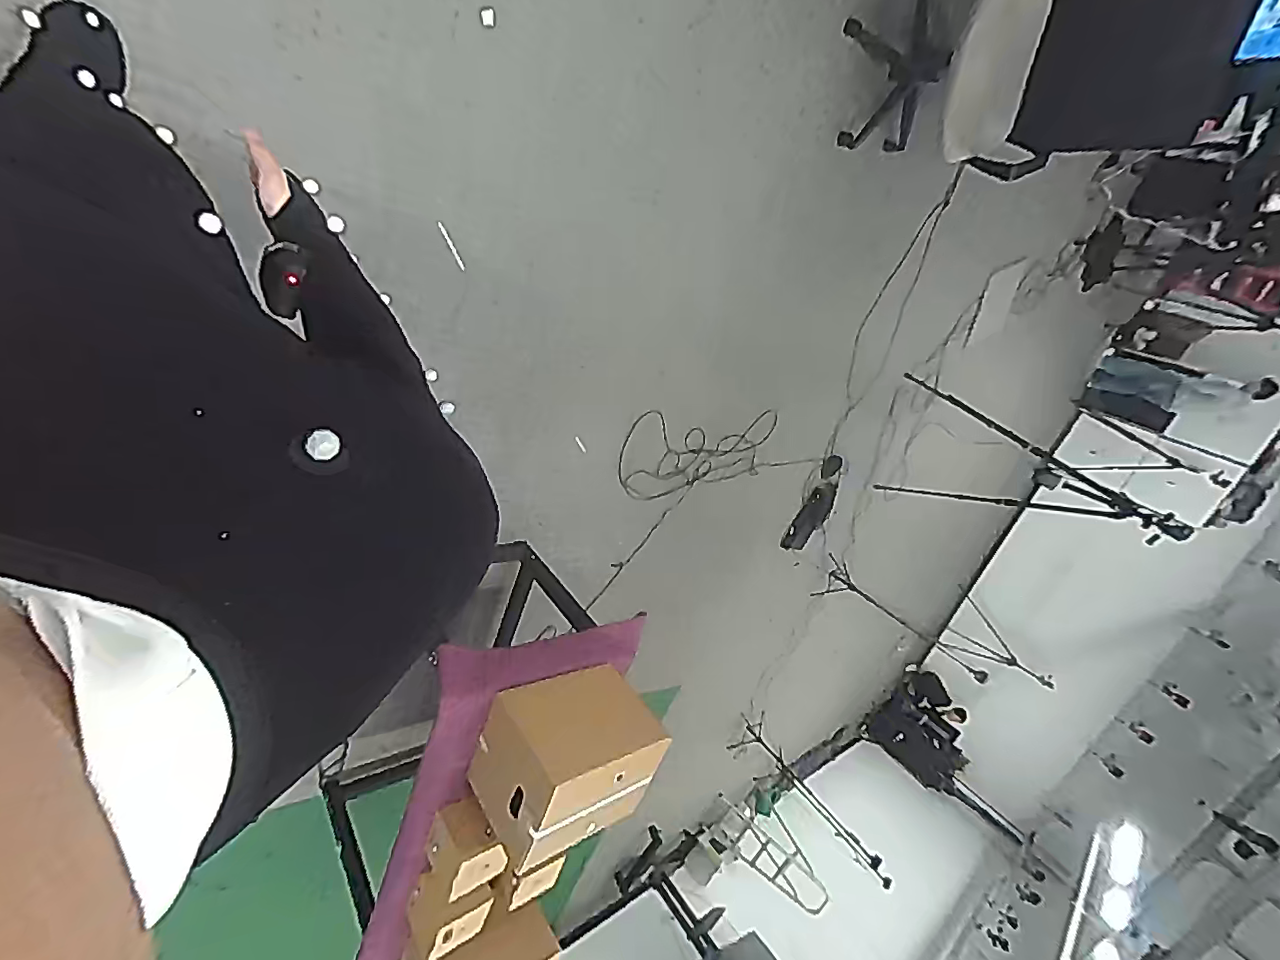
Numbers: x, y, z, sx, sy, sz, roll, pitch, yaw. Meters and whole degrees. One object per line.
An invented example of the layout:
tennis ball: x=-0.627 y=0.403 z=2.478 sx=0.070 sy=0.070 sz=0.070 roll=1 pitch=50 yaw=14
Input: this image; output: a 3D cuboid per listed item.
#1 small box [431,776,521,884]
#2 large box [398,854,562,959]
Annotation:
small box: x=-0.480 y=1.006 z=1.573 sx=0.179 sy=0.176 sz=0.168 roll=0 pitch=118 yaw=-46
large box: x=-0.547 y=1.596 z=1.851 sx=0.408 sy=0.320 sz=0.320 roll=5 pitch=114 yaw=-45
